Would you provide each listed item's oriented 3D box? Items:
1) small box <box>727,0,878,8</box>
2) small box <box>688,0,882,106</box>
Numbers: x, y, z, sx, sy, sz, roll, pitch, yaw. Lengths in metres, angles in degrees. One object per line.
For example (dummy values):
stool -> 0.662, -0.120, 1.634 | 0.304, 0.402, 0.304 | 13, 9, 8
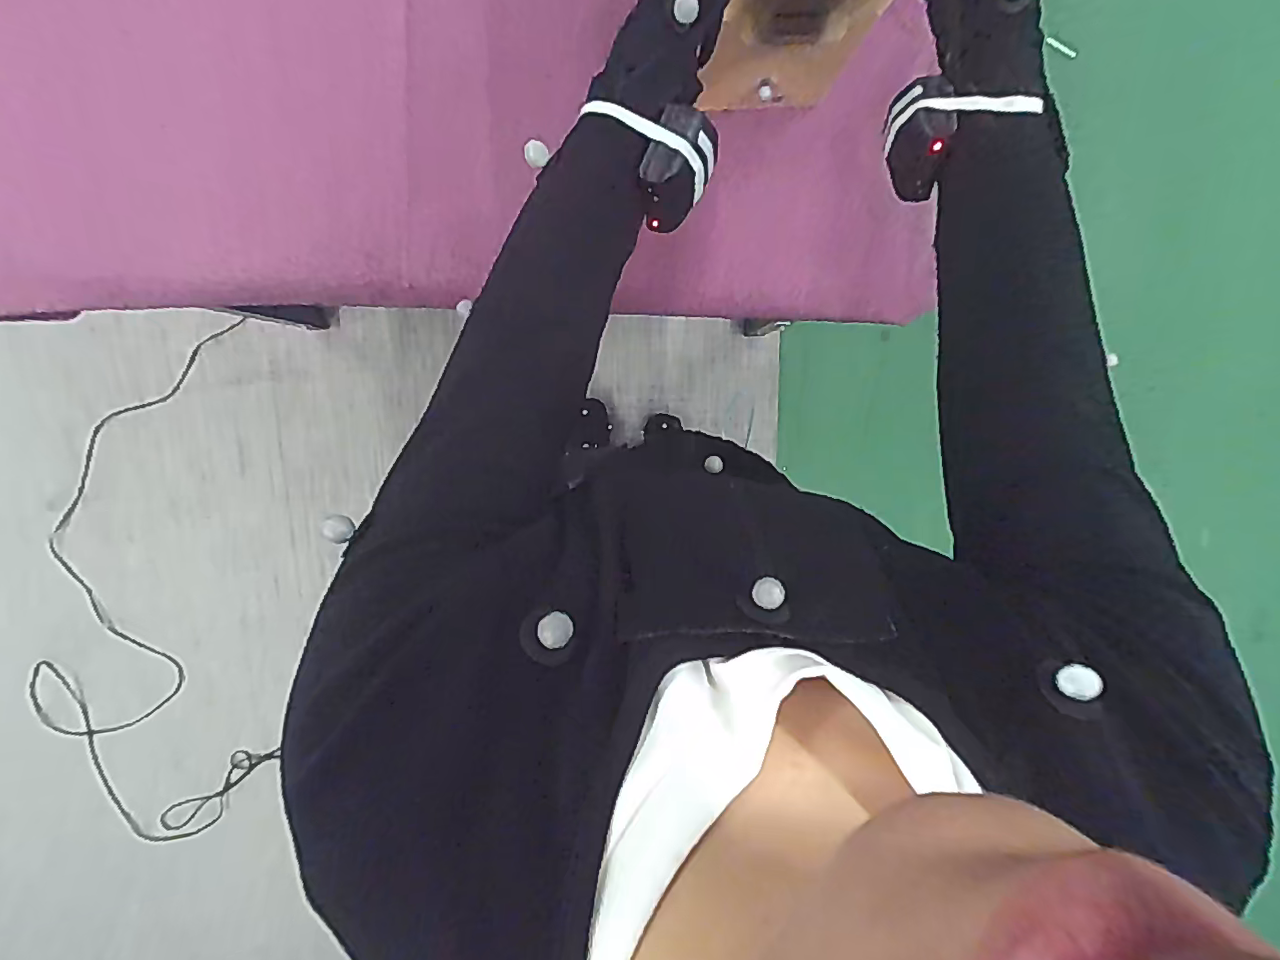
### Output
small box -> 0.148, -0.512, 0.410 | 0.168, 0.176, 0.179 | -3, 101, -2
small box -> 0.140, -0.534, 0.571 | 0.168, 0.176, 0.179 | -3, 100, -1
